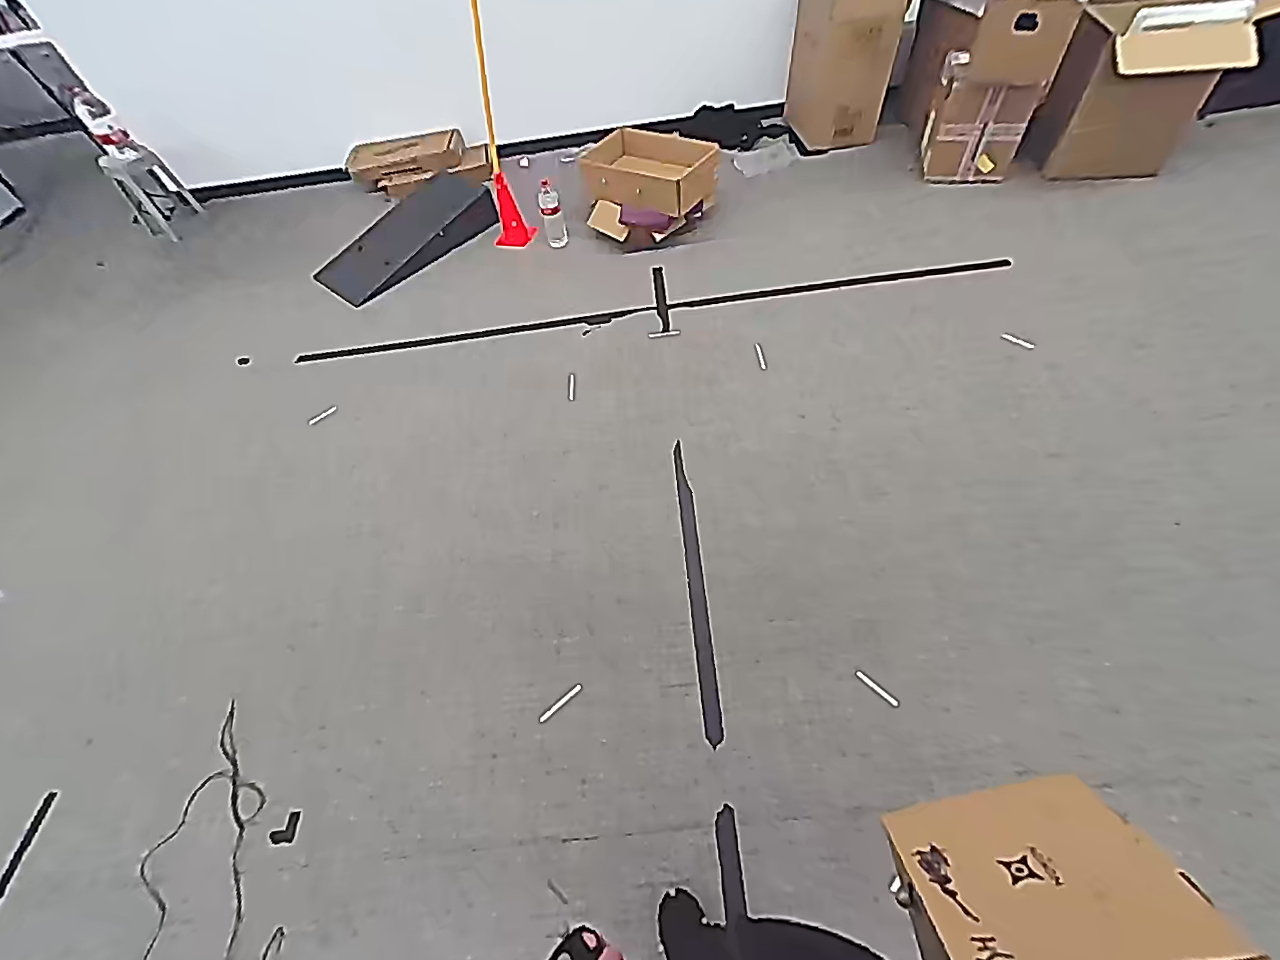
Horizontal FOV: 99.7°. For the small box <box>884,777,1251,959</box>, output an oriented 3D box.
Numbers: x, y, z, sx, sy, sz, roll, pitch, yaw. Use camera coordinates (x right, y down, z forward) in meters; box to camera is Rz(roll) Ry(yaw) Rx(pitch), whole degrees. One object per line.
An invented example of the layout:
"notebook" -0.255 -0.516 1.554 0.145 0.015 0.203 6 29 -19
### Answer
"small box" 0.328 0.383 0.433 0.179 0.168 0.176 -16 95 6
